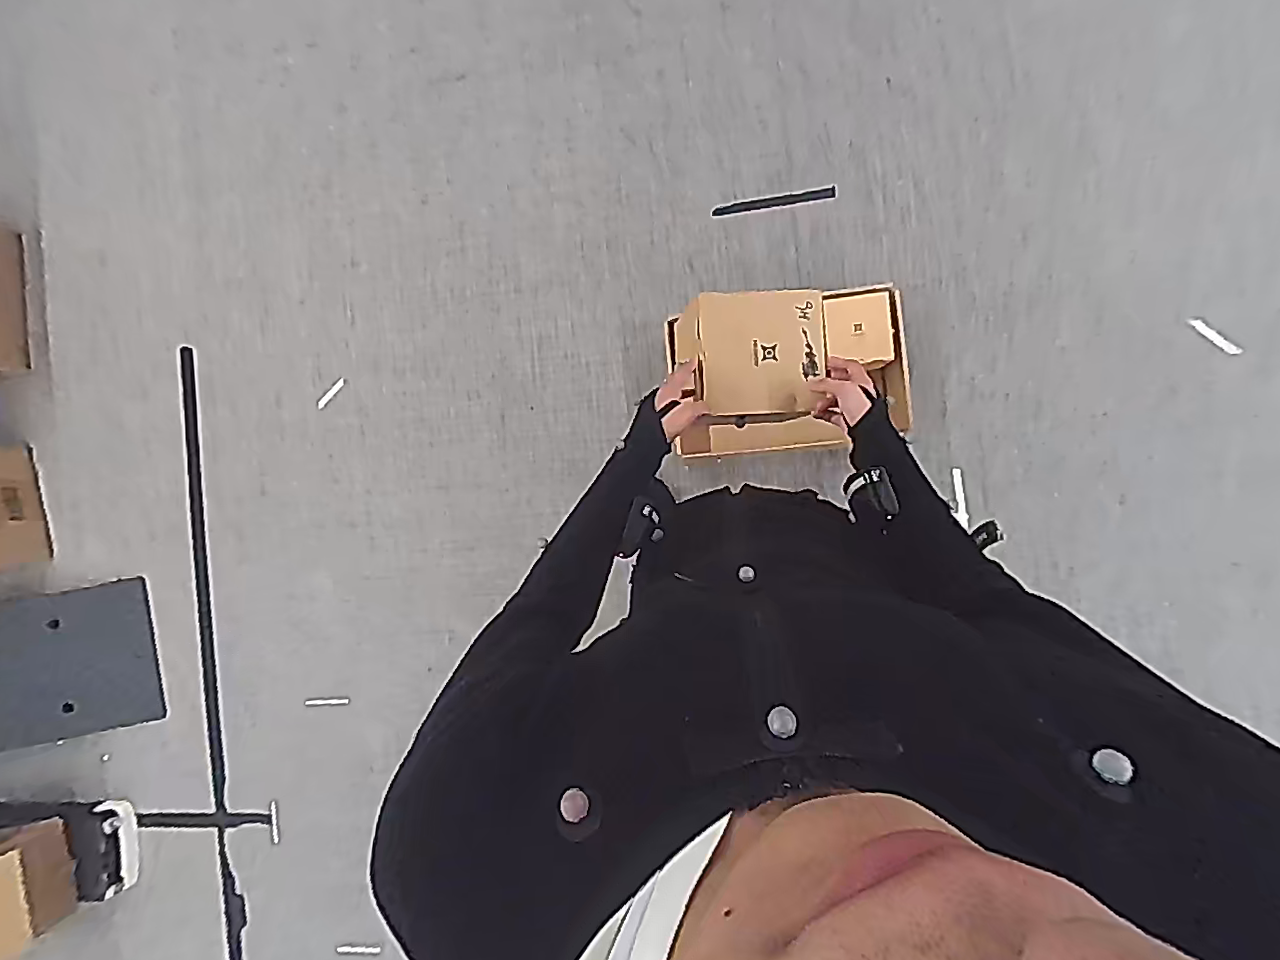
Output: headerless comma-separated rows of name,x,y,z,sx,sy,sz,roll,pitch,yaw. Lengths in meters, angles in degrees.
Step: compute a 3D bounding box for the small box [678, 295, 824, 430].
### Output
small box,0.152,-0.163,0.796,0.179,0.176,0.168,-2,91,-6
